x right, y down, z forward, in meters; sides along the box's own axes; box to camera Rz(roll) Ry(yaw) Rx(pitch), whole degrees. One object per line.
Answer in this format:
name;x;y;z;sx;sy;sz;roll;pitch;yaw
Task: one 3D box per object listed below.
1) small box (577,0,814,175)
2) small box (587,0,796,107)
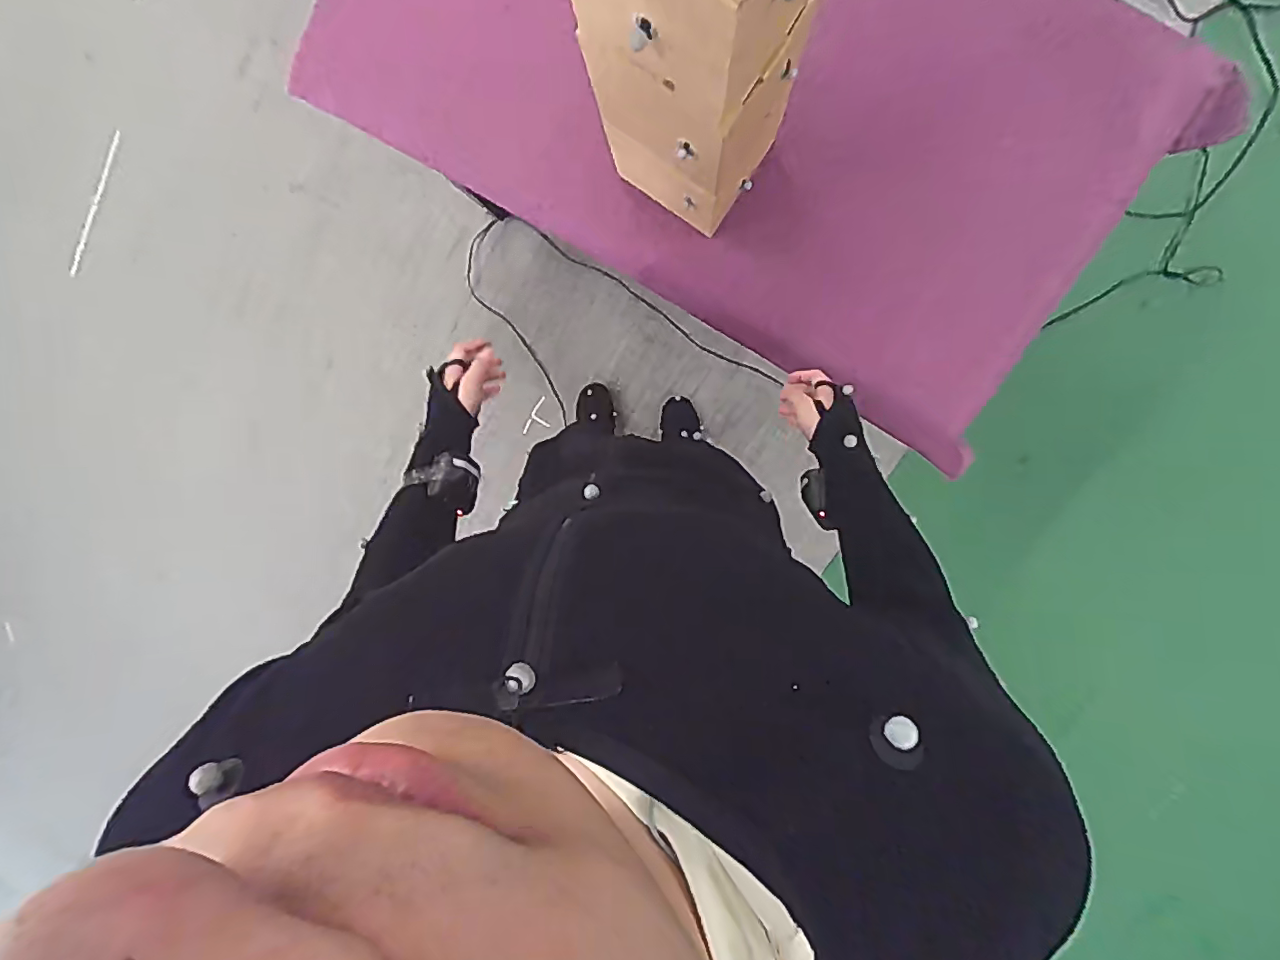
small box;0.063;-0.462;0.576;0.179;0.176;0.168;35;100;-1
small box;0.052;-0.442;0.414;0.168;0.176;0.179;34;101;-1
